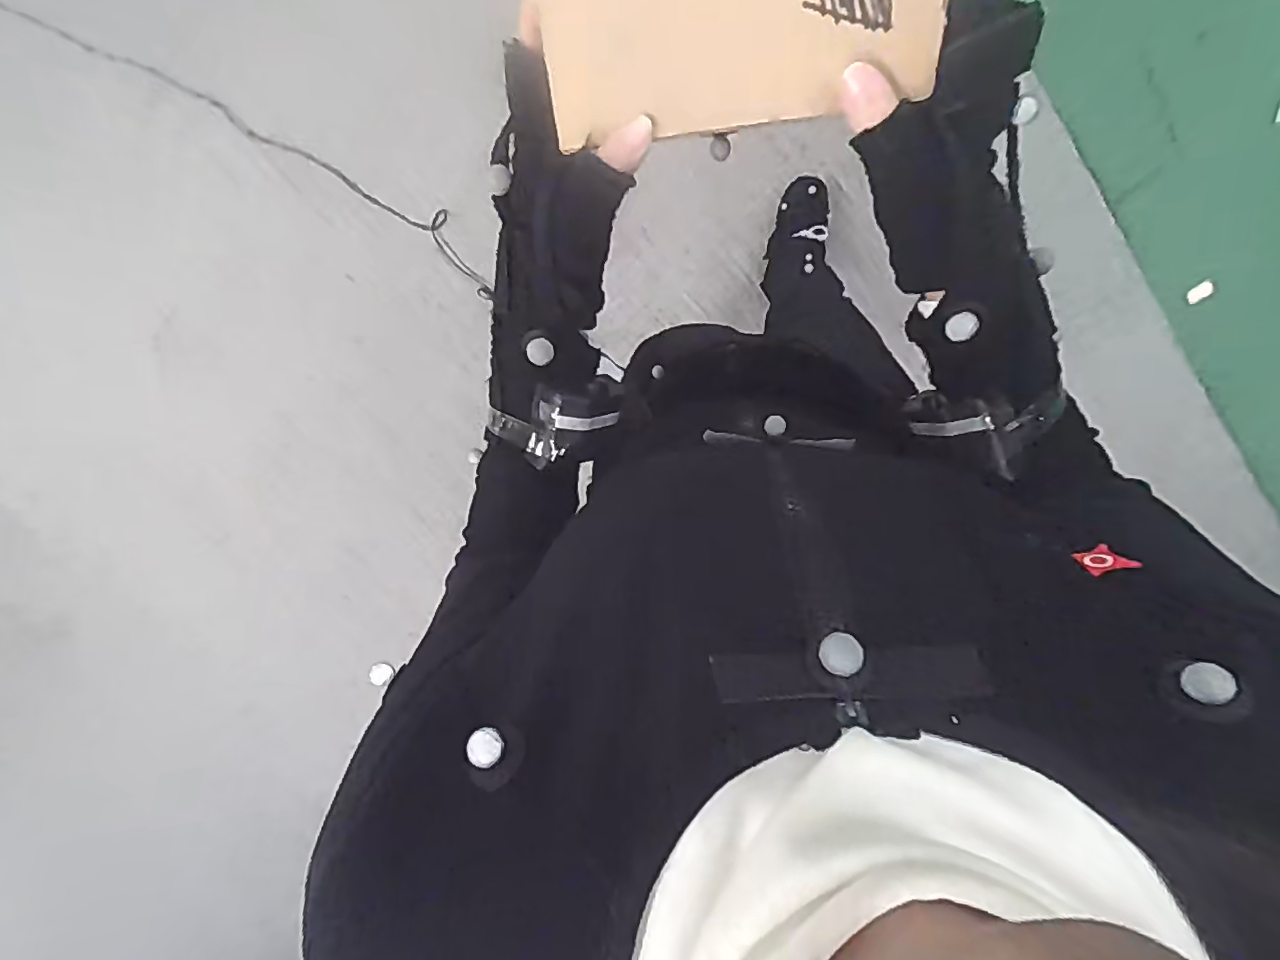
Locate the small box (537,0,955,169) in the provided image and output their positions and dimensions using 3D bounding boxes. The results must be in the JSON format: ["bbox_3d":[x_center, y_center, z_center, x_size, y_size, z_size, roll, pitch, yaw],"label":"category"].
[{"bbox_3d":[0.043,-0.274,0.277,0.179,0.176,0.168,-6,122,10],"label":"small box"}]
